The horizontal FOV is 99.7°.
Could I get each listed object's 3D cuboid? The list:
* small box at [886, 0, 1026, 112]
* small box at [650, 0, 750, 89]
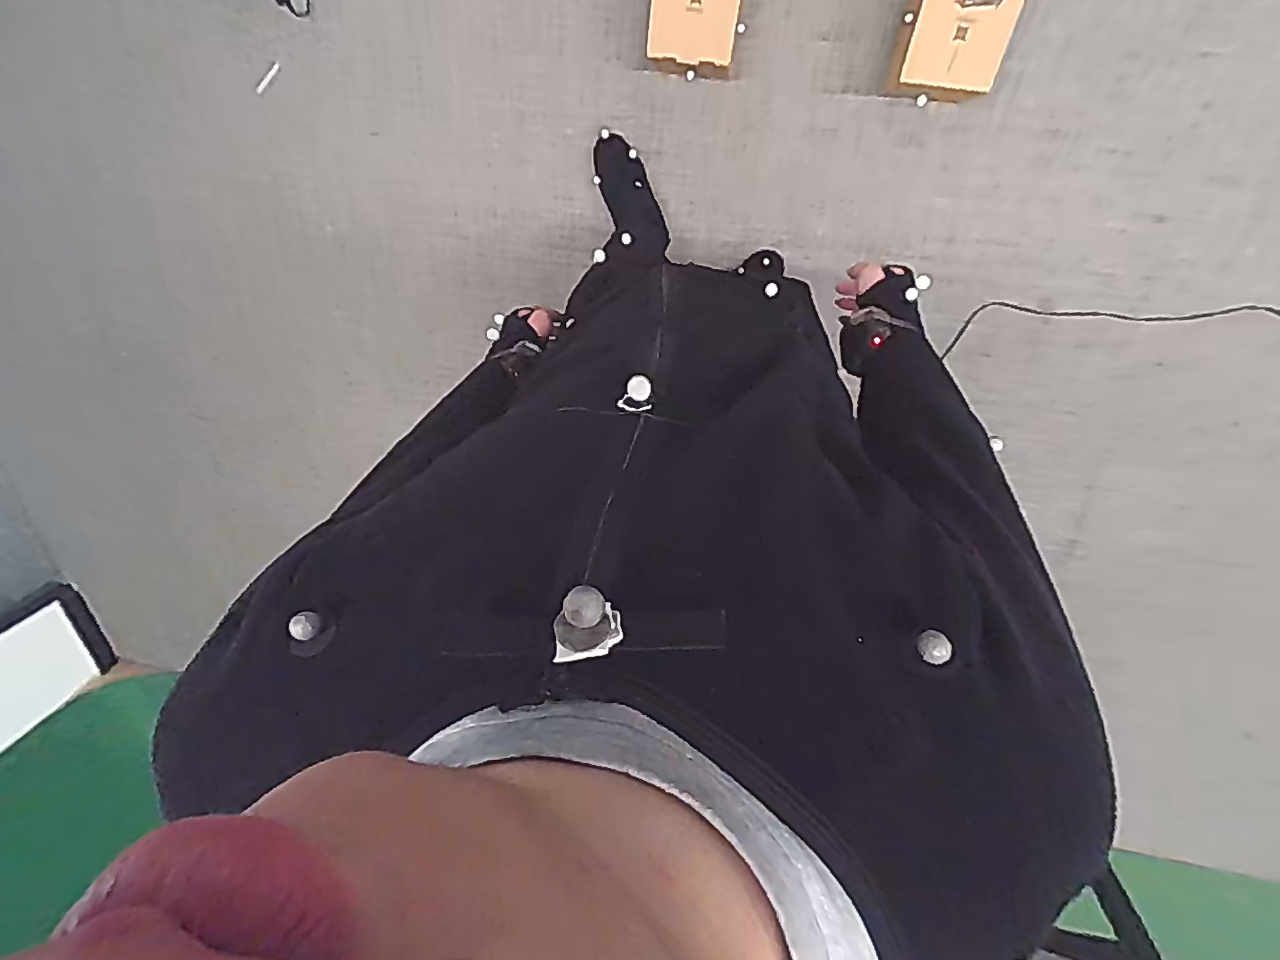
[{"bbox_3d":[0.590,-0.826,1.033,0.168,0.176,0.179,12,121,7],"label":"small box"},{"bbox_3d":[0.125,-0.910,1.090,0.168,0.176,0.179,11,120,6],"label":"small box"}]
